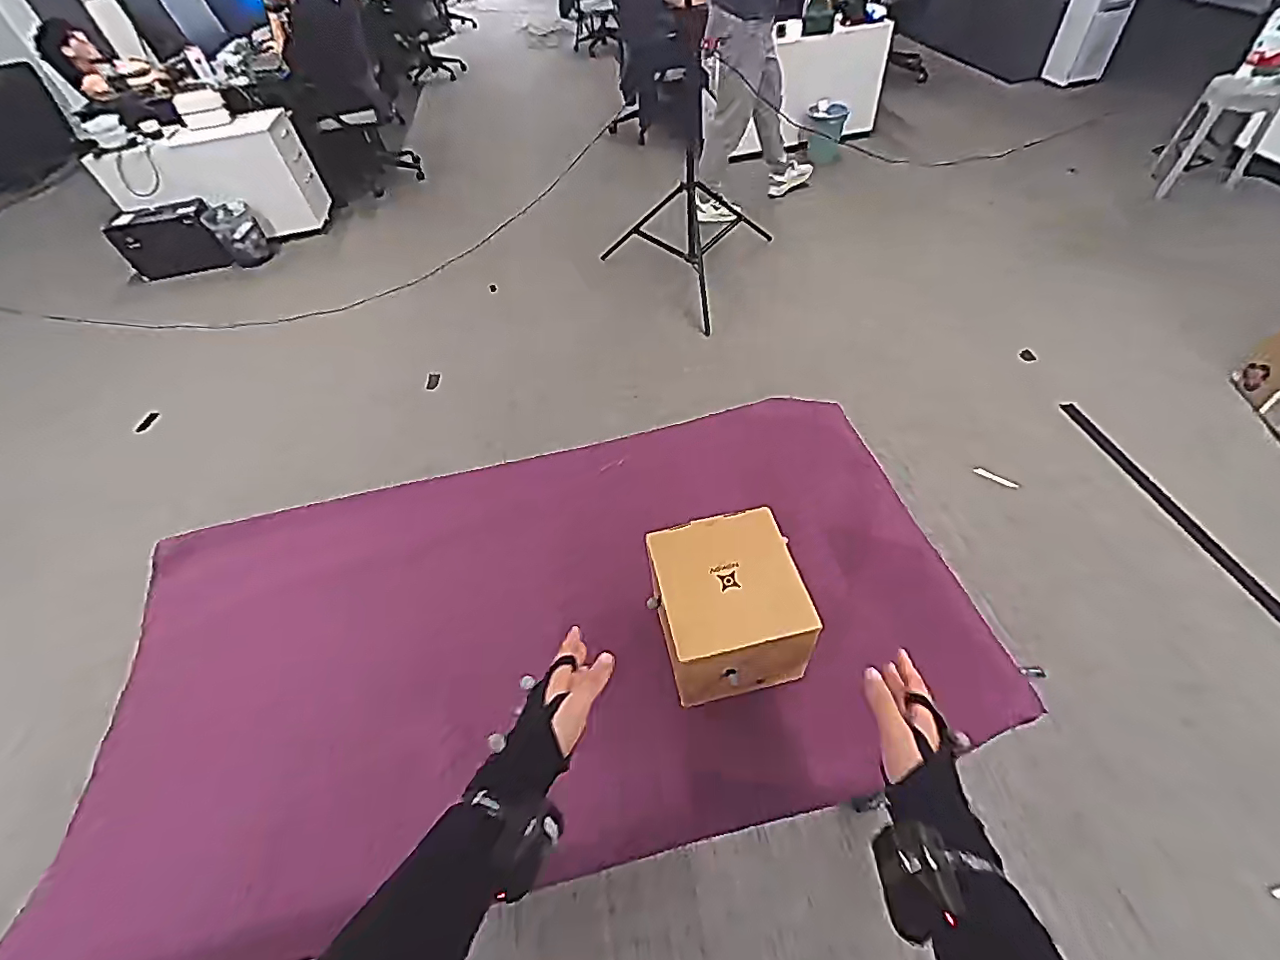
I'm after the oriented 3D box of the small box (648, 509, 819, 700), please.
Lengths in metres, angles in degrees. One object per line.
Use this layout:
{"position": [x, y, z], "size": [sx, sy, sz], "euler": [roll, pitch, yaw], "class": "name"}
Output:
{"position": [0.114, 0.169, 0.708], "size": [0.168, 0.176, 0.179], "euler": [-13, 50, -4], "class": "small box"}
